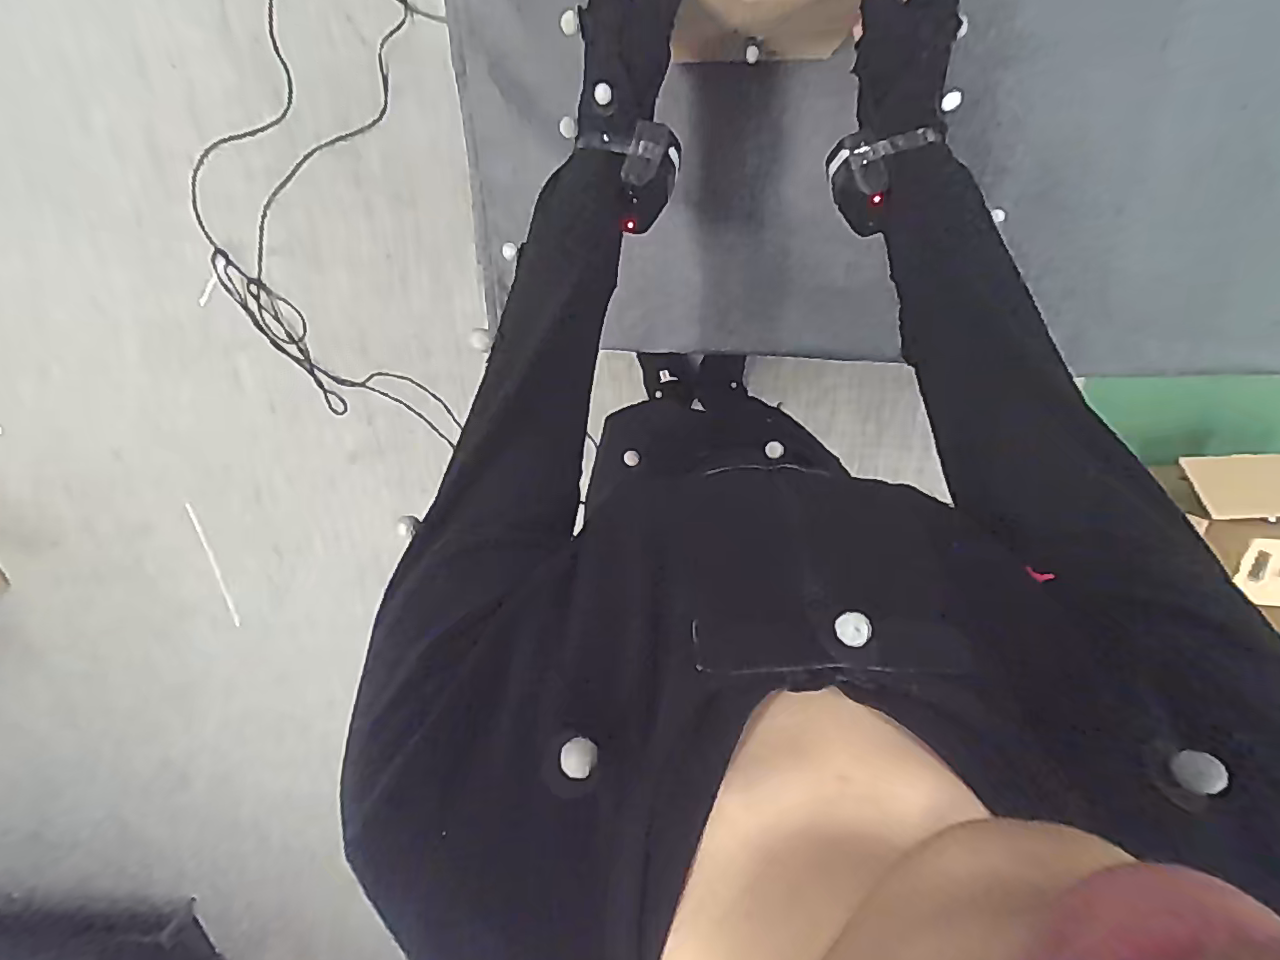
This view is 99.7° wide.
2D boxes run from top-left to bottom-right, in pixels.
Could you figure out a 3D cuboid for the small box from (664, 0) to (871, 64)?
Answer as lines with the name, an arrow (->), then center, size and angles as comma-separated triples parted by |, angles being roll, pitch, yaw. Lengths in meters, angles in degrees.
small box -> 0.104, -0.478, 0.447 | 0.168, 0.176, 0.179 | 1, 113, 4
